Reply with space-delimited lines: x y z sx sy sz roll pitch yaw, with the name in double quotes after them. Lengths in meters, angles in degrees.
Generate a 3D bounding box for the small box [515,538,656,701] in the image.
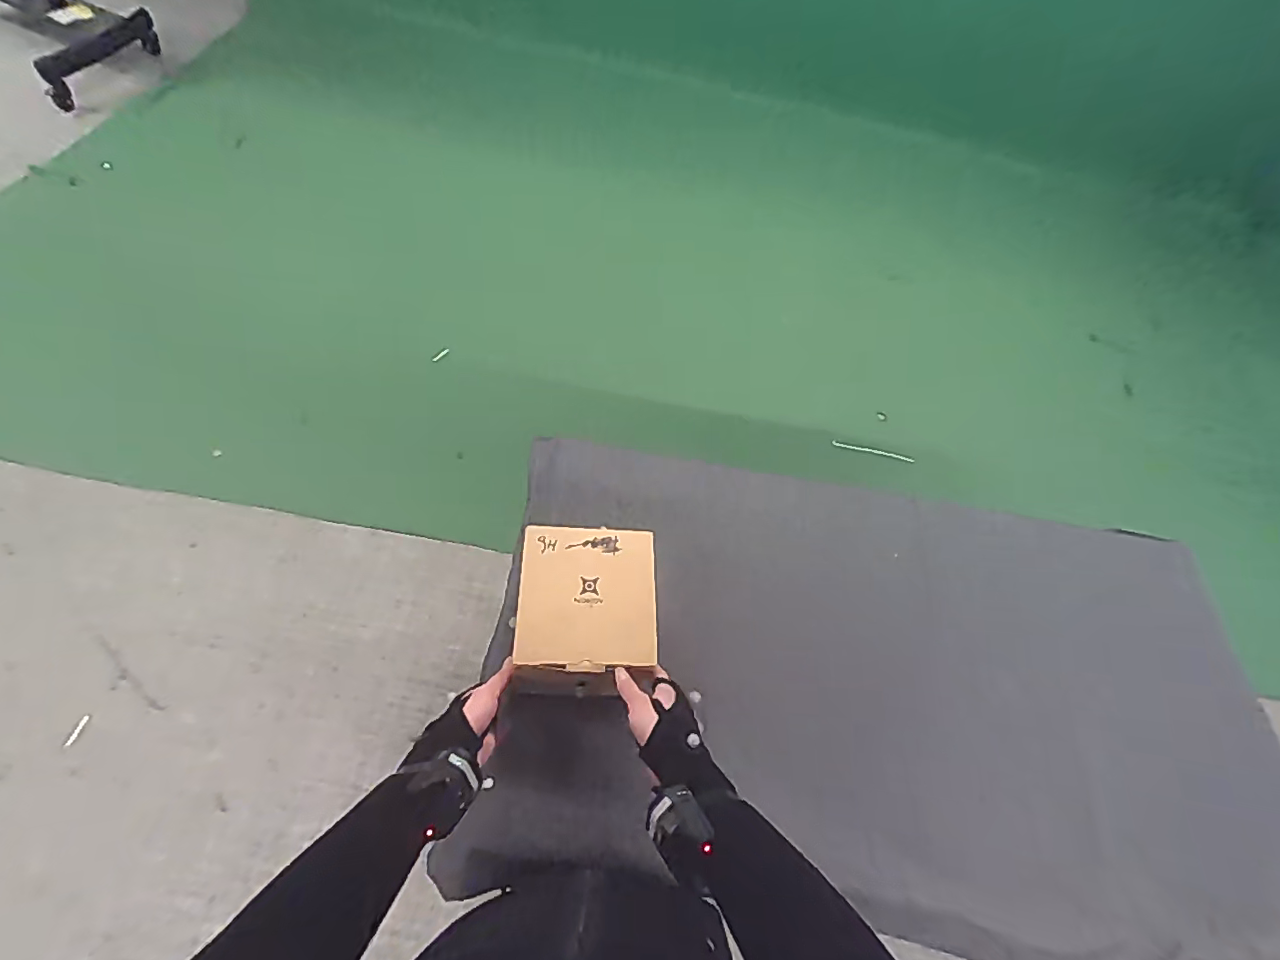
-0.073 0.194 0.727 0.168 0.176 0.179 4 59 -9 "small box"
